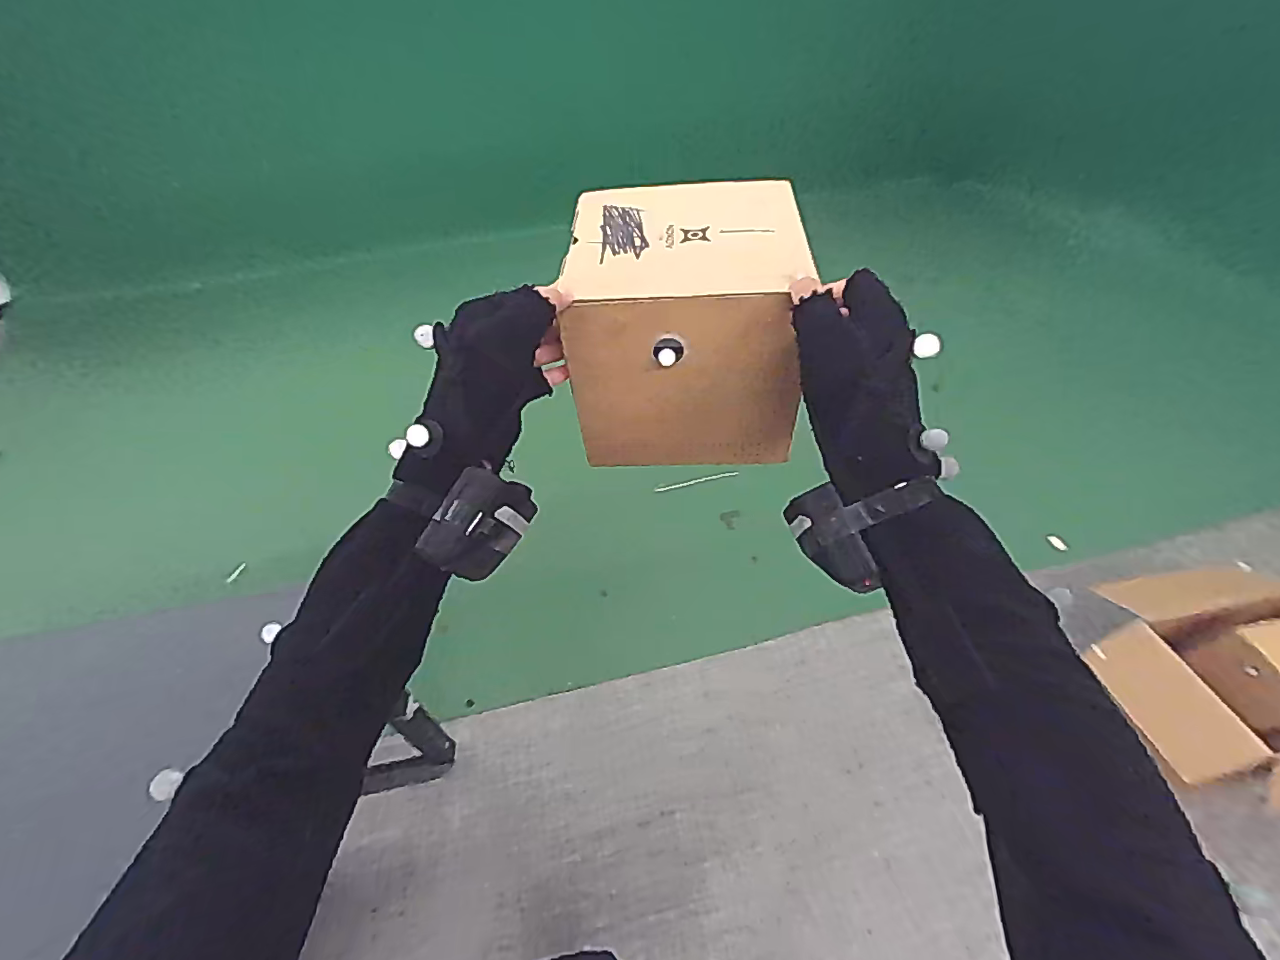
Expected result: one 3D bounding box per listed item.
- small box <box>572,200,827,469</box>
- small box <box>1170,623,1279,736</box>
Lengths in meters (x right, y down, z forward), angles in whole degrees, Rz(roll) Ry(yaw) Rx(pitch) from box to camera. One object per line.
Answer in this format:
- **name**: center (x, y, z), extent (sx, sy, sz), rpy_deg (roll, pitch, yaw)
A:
- **small box**: center (0.049, -0.123, 0.475), extent (0.179, 0.176, 0.168), rpy_deg (1, 50, 4)
- **small box**: center (1.350, 0.442, 1.182), extent (0.168, 0.176, 0.179), rpy_deg (-8, 46, -5)
